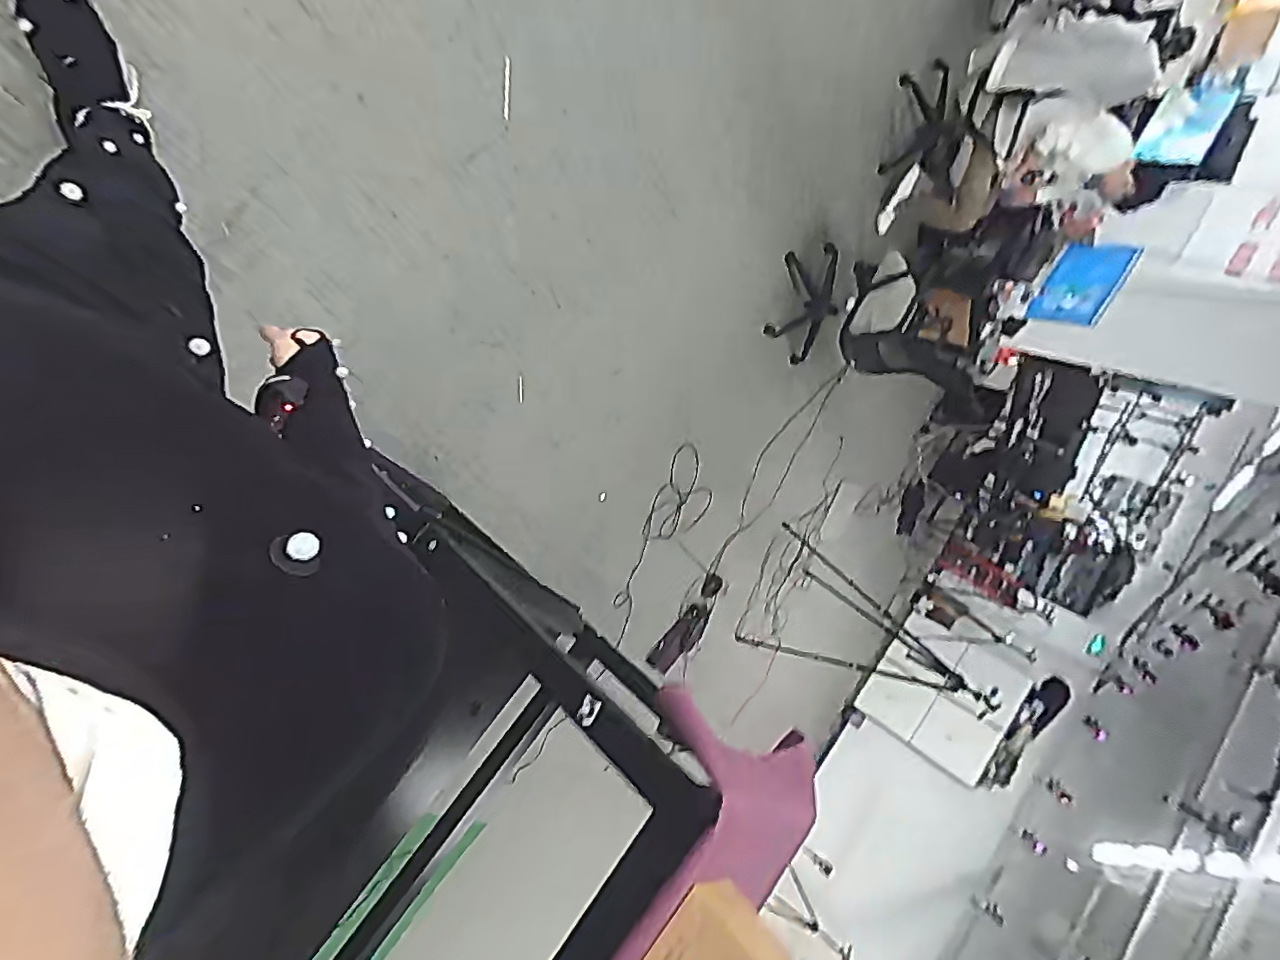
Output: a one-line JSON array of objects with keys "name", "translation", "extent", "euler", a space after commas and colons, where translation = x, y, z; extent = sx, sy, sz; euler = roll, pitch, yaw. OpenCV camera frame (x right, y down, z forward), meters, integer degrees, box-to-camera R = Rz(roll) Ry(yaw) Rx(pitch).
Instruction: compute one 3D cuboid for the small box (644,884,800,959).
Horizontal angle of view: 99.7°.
[{"name": "small box", "translation": [0.091, 0.584, 0.592], "extent": [0.168, 0.176, 0.179], "euler": [-49, 142, -13]}]
